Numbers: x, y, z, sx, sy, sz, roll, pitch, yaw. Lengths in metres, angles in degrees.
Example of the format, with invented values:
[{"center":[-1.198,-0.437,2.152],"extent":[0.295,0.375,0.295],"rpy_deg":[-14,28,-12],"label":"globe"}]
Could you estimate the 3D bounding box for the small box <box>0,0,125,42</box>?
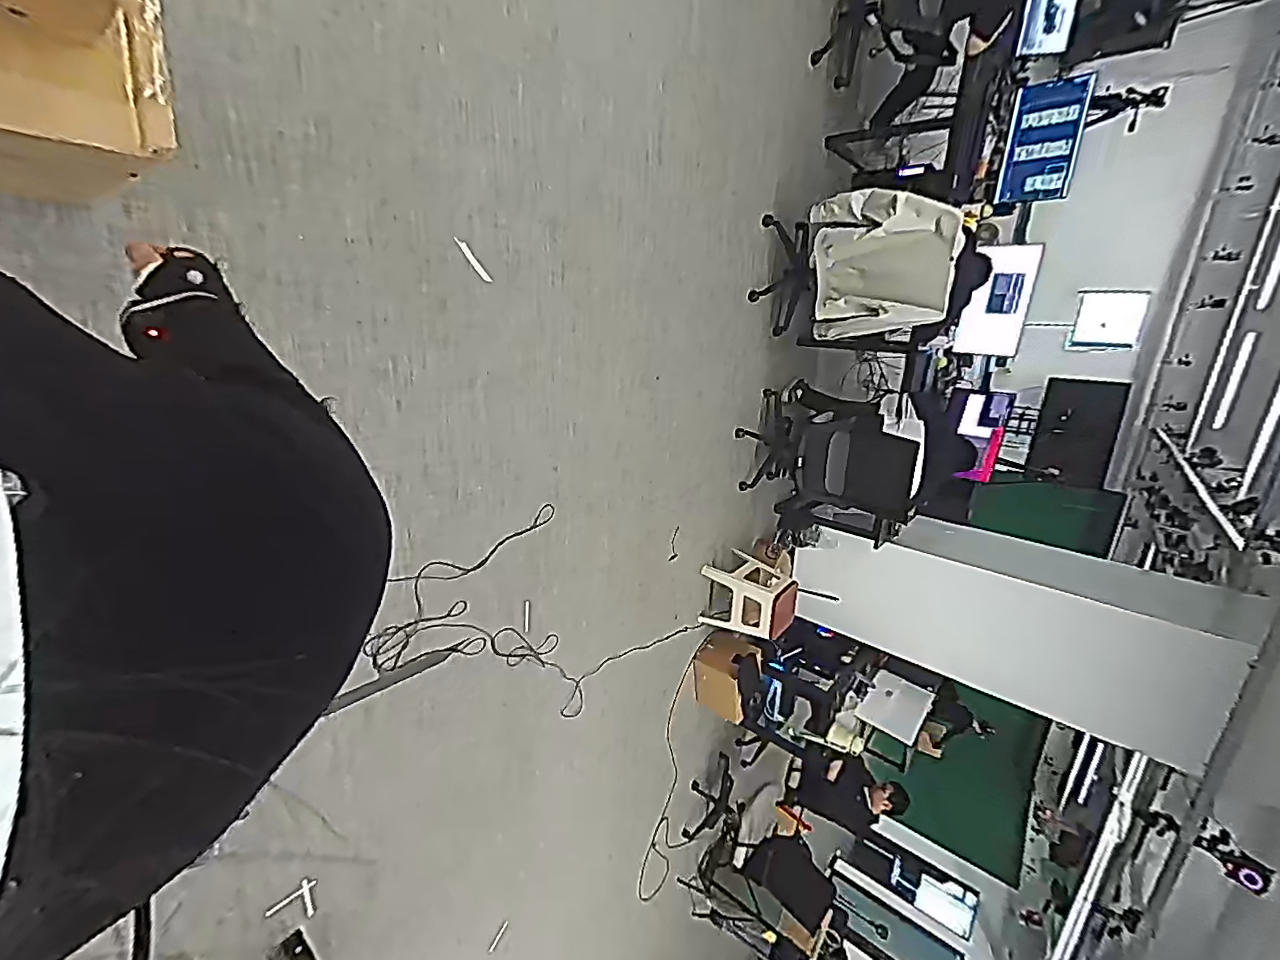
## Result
[{"center":[-0.573,-0.521,0.456],"extent":[0.168,0.176,0.179],"rpy_deg":[-14,115,-47],"label":"small box"}]
